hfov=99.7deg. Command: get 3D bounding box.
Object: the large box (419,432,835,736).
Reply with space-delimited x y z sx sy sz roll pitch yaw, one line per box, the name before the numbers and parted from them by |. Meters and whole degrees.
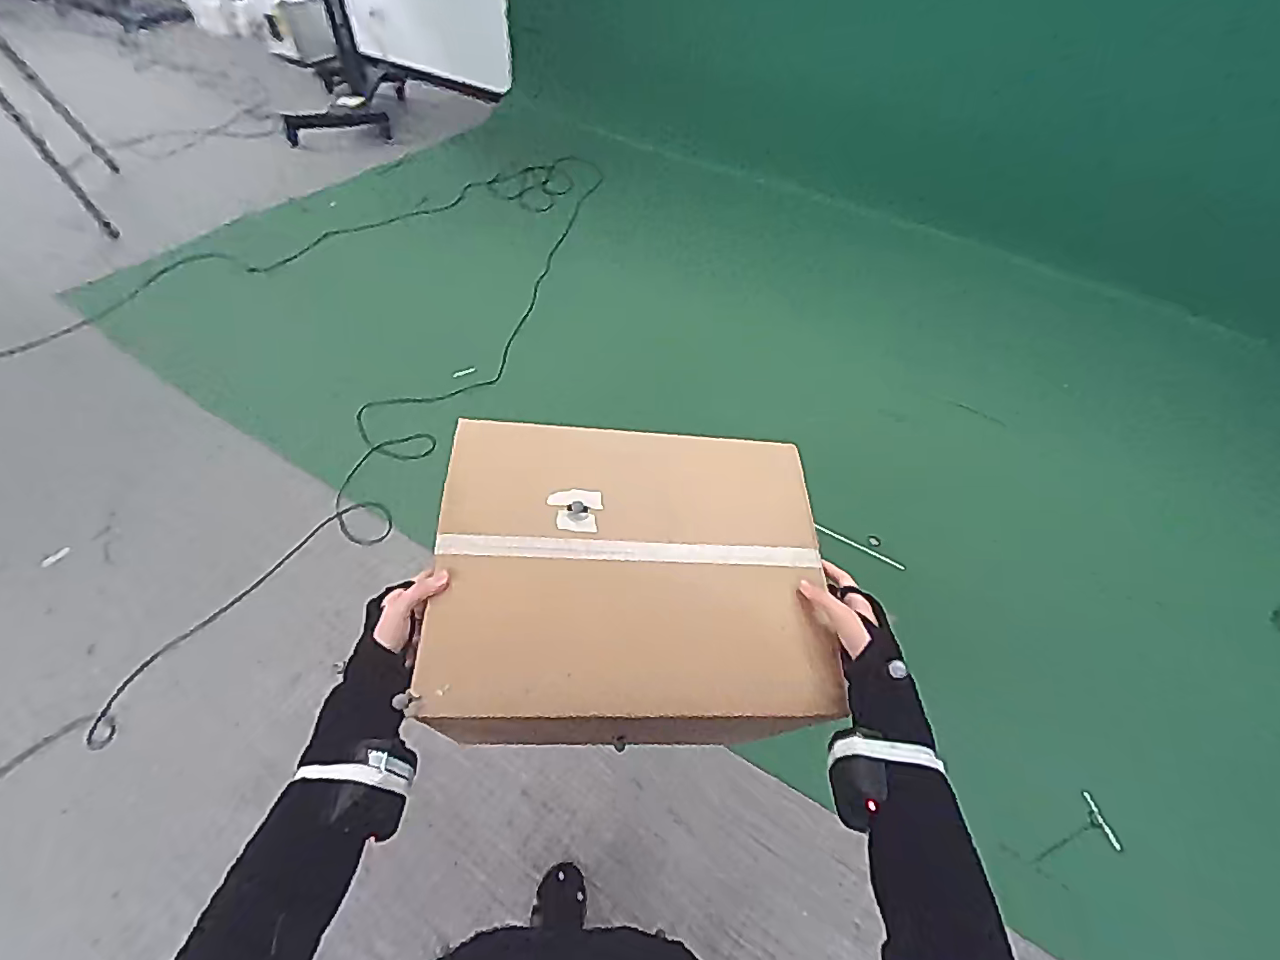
large box | -0.022 0.159 0.708 0.408 0.320 0.320 4 60 -7
